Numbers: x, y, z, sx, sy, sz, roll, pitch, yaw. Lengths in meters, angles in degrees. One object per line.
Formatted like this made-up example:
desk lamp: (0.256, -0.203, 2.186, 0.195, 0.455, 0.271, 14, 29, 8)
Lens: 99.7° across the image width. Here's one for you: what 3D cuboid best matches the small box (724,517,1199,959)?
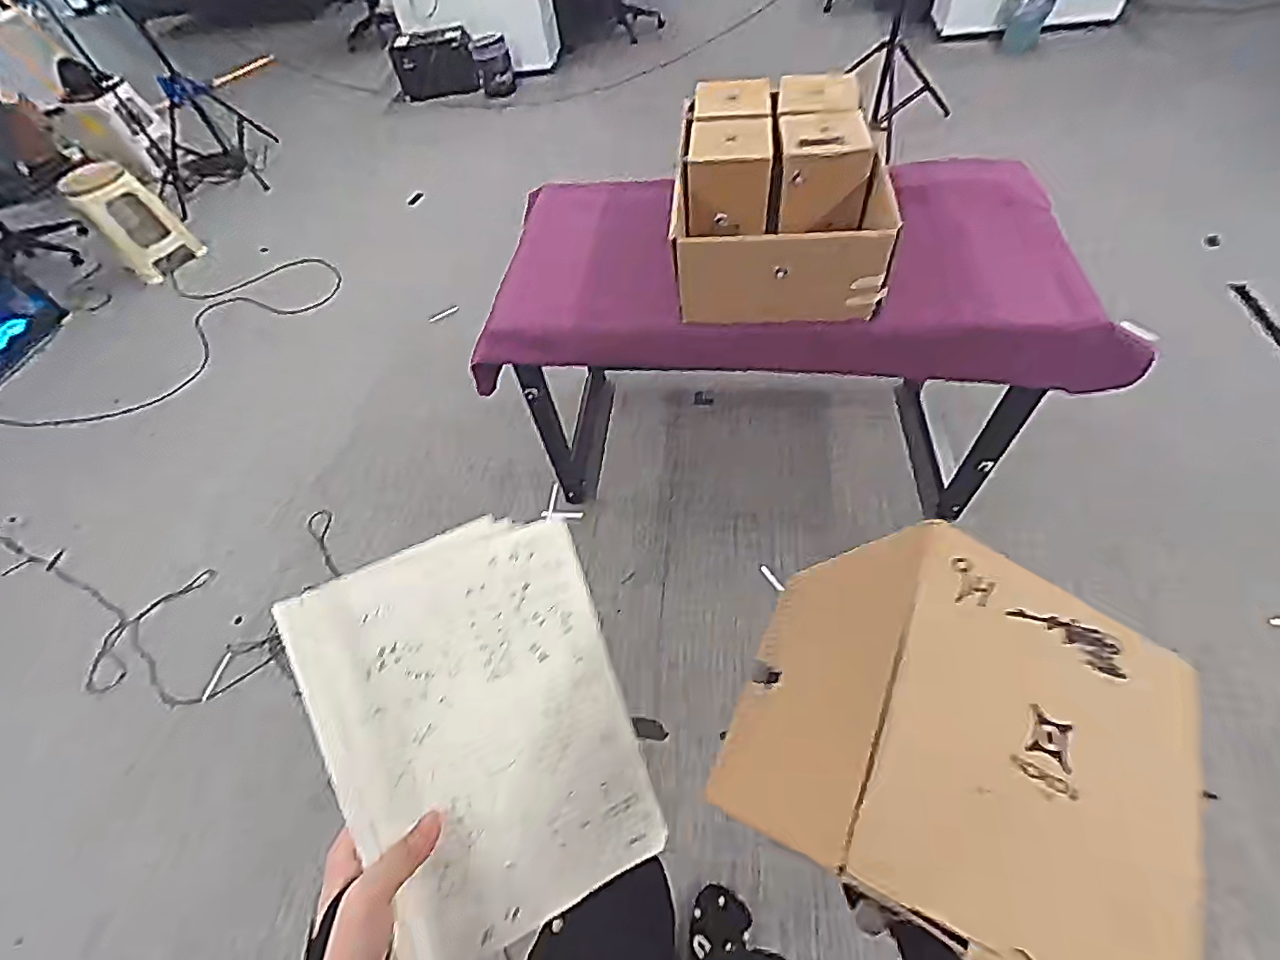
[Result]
small box: (0.169, 0.155, 0.325, 0.168, 0.176, 0.179, 29, 65, -2)
